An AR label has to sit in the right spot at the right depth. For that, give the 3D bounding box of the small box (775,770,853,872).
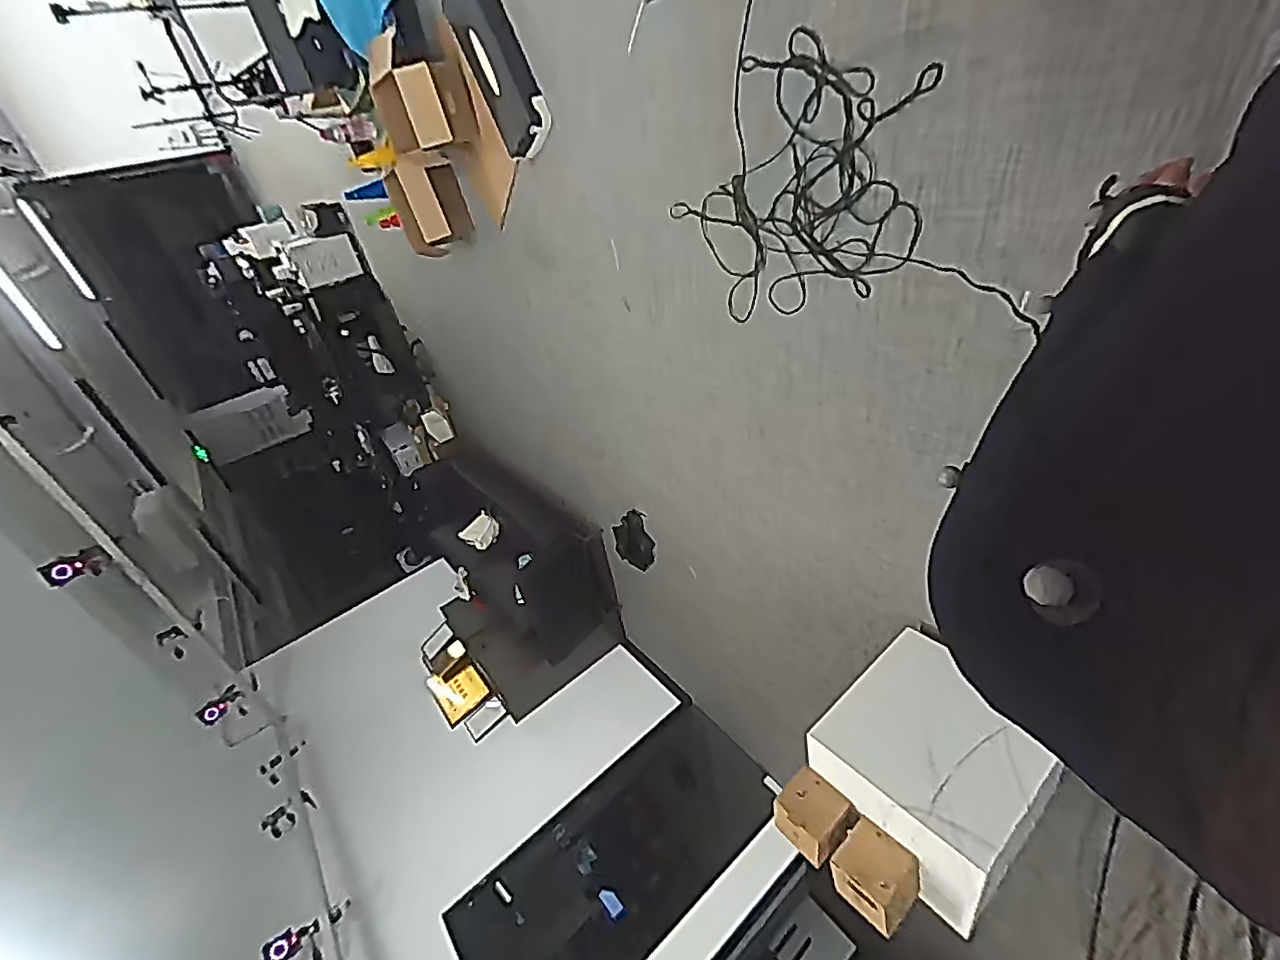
[{"bbox_3d":[0.536,1.043,1.668,0.168,0.176,0.179,30,142,46],"label":"small box"}]
